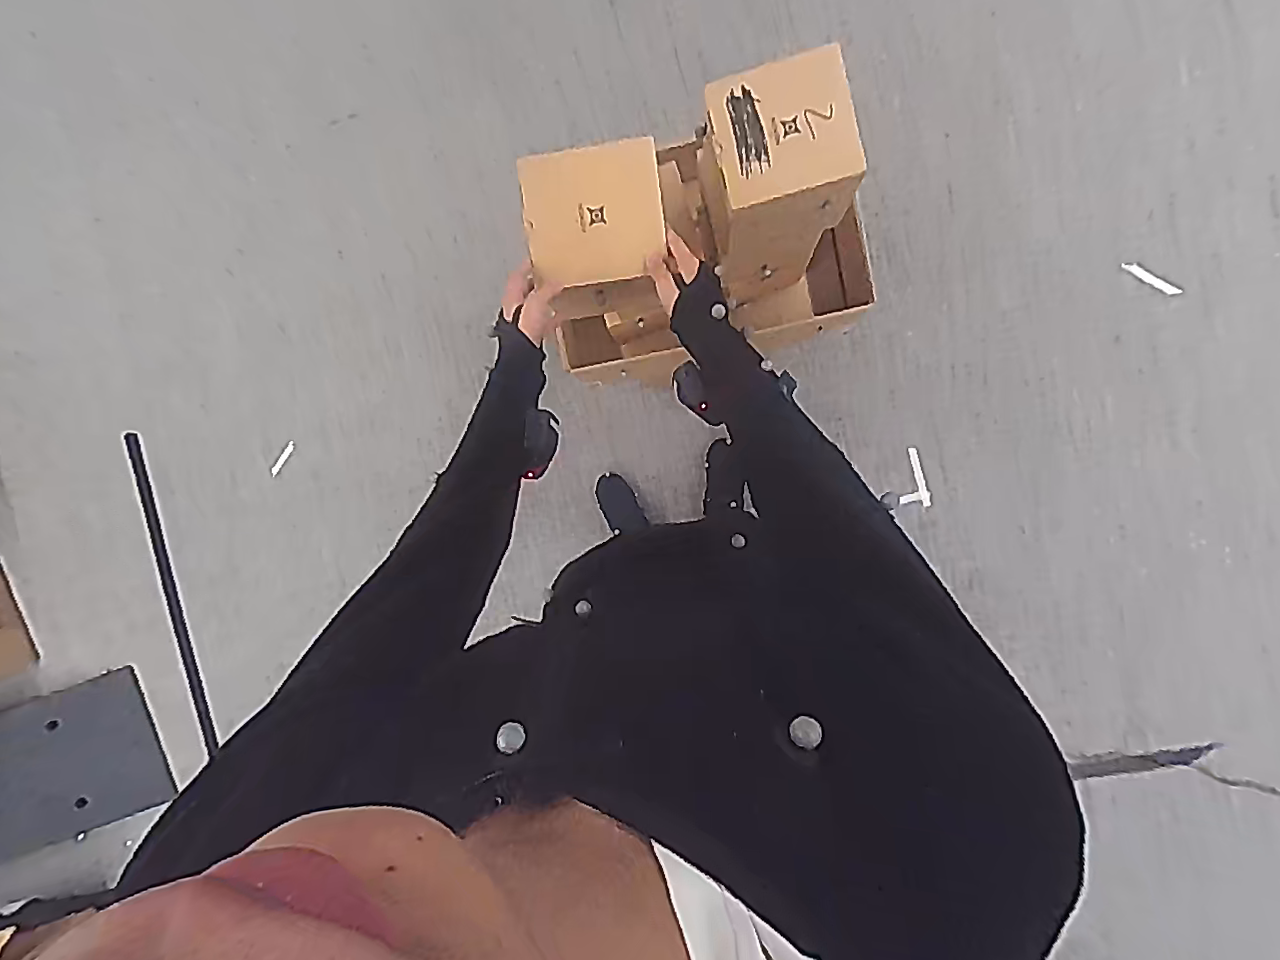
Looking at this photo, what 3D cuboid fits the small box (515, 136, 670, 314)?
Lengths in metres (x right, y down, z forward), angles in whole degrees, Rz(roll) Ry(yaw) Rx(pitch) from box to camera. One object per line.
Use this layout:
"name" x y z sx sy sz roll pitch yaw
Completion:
"small box" -0.055 -0.336 0.747 0.179 0.176 0.168 -7 96 5

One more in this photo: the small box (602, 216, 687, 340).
"small box" -0.005 -0.410 1.114 0.168 0.176 0.179 -17 91 7
